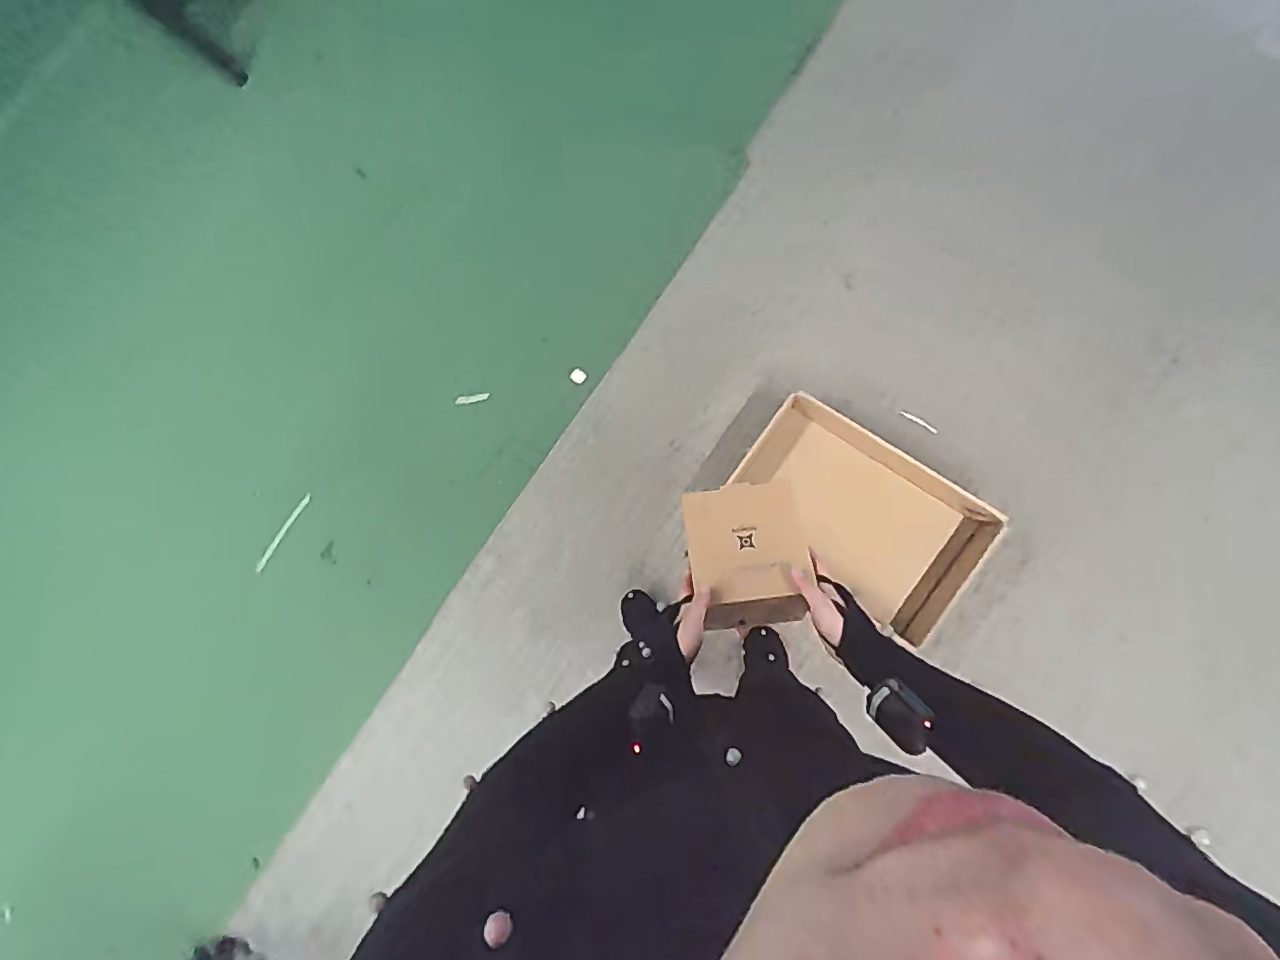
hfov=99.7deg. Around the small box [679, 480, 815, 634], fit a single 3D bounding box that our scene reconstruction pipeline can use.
[{"bbox_3d":[0.153,0.122,0.823,0.168,0.176,0.179,-9,62,4],"label":"small box"}]
